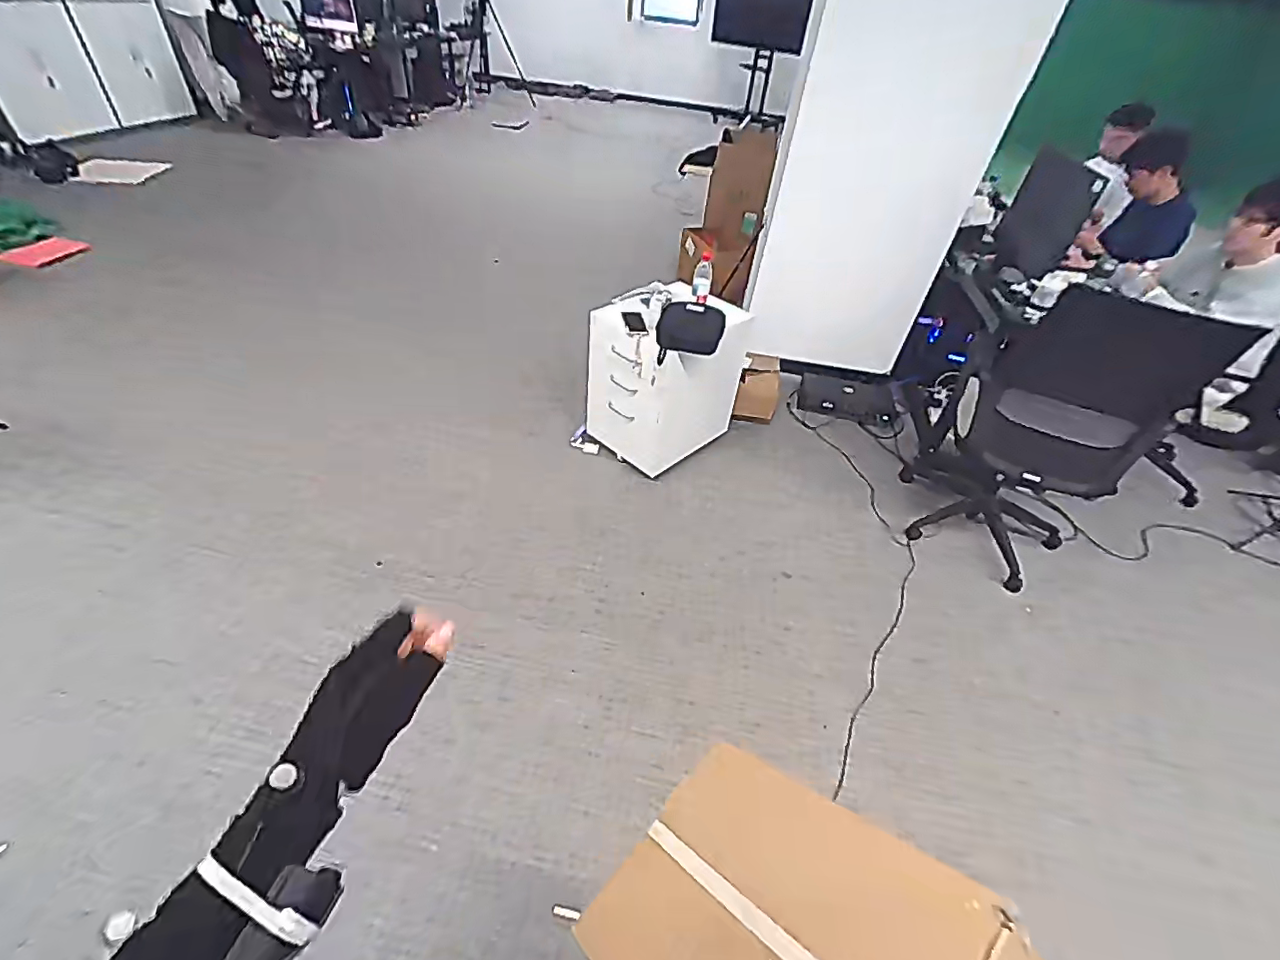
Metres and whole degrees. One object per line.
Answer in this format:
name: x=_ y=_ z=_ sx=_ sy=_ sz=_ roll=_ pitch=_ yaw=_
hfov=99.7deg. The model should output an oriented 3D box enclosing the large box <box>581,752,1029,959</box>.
large box: x=0.203 y=0.617 z=0.639 sx=0.320 sy=0.320 sz=0.408 roll=-39 pitch=18 yaw=-27
